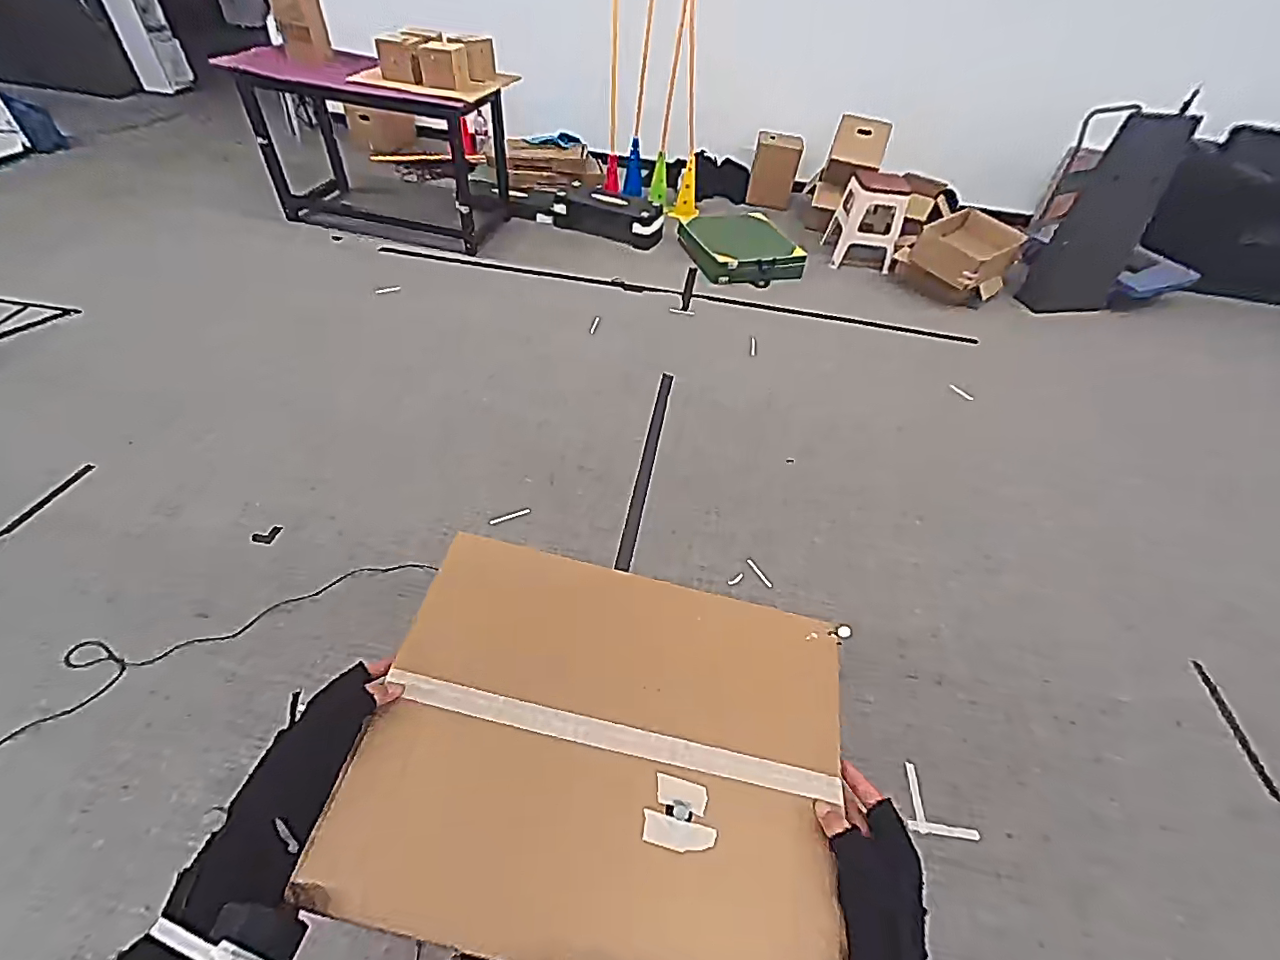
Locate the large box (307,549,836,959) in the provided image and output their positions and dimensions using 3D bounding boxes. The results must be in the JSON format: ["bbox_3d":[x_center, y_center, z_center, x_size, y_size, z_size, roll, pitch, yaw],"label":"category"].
[{"bbox_3d":[-0.046,0.320,0.597,0.408,0.320,0.320,14,53,0],"label":"large box"}]
